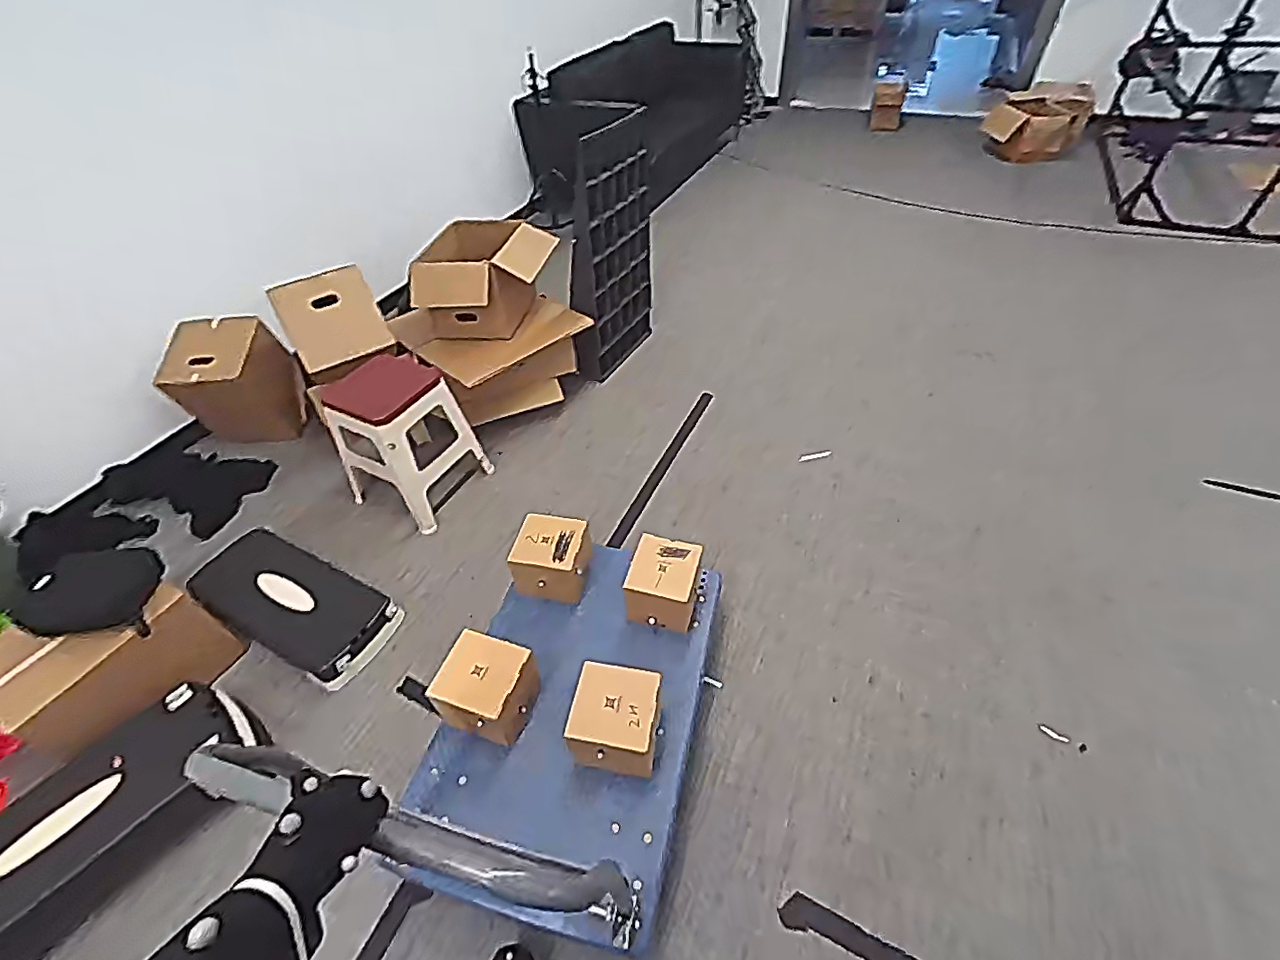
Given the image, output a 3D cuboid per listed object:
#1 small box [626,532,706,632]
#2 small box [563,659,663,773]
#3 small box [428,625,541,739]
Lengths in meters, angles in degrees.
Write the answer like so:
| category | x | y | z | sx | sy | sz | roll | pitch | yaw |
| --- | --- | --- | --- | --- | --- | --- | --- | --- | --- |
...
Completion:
| category | x | y | z | sx | sy | sz | roll | pitch | yaw |
| --- | --- | --- | --- | --- | --- | --- | --- | --- | --- |
| small box | 0.069 | 0.268 | 1.418 | 0.168 | 0.176 | 0.179 | 12 | 49 | 14 |
| small box | -0.050 | 0.518 | 1.184 | 0.179 | 0.176 | 0.168 | 7 | 47 | 10 |
| small box | -0.349 | 0.469 | 1.248 | 0.179 | 0.176 | 0.168 | 14 | 48 | 14 |
